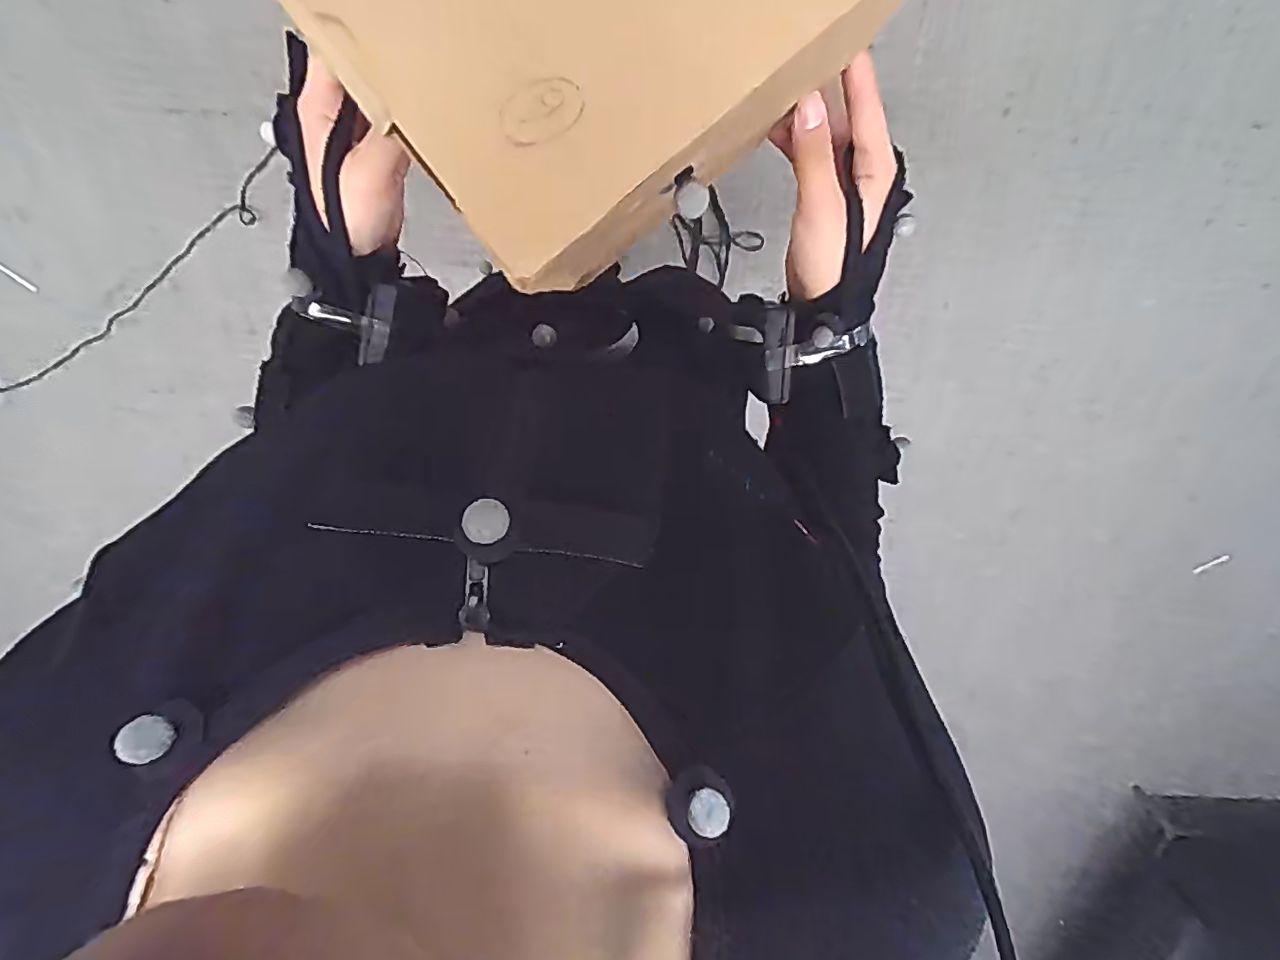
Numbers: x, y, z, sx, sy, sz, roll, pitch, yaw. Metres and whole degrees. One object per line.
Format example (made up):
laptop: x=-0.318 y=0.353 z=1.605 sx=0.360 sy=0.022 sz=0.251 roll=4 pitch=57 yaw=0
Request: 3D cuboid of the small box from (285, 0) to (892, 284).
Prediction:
small box: x=-0.018 y=-0.197 z=0.218 sx=0.179 sy=0.176 sz=0.168 roll=-35 pitch=105 yaw=13
